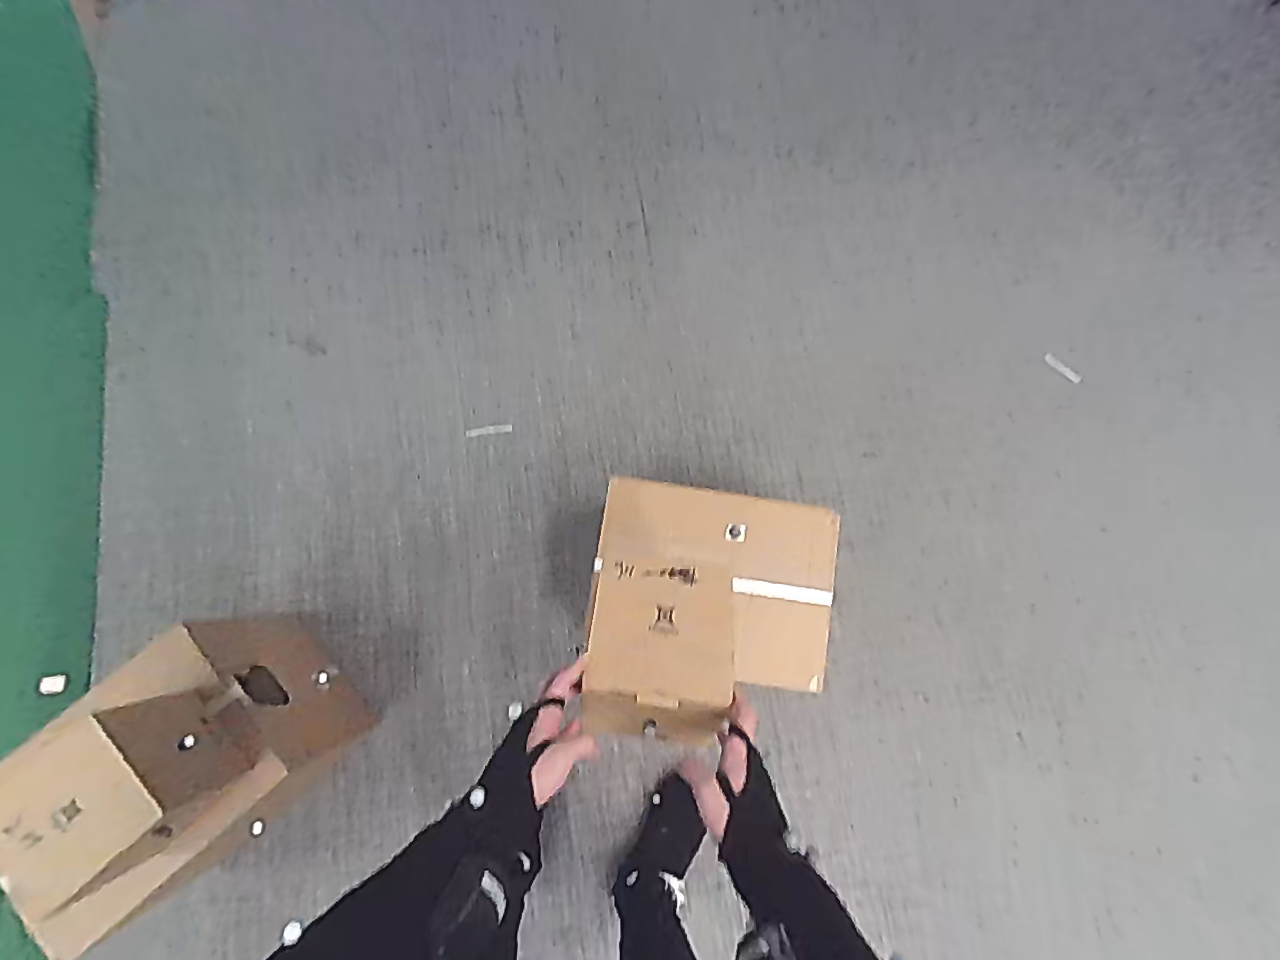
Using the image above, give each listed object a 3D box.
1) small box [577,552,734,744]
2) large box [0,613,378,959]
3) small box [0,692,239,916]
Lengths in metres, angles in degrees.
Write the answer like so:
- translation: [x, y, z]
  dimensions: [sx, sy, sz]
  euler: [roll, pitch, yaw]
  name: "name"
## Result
- translation: [0.020, 0.216, 0.679]
  dimensions: [0.168, 0.176, 0.179]
  euler: [8, 51, 1]
  name: "small box"
- translation: [-0.786, 0.496, 0.979]
  dimensions: [0.408, 0.320, 0.320]
  euler: [-41, 81, -8]
  name: "large box"
- translation: [-0.706, 0.421, 0.745]
  dimensions: [0.179, 0.176, 0.168]
  euler: [-42, 83, -9]
  name: "small box"
